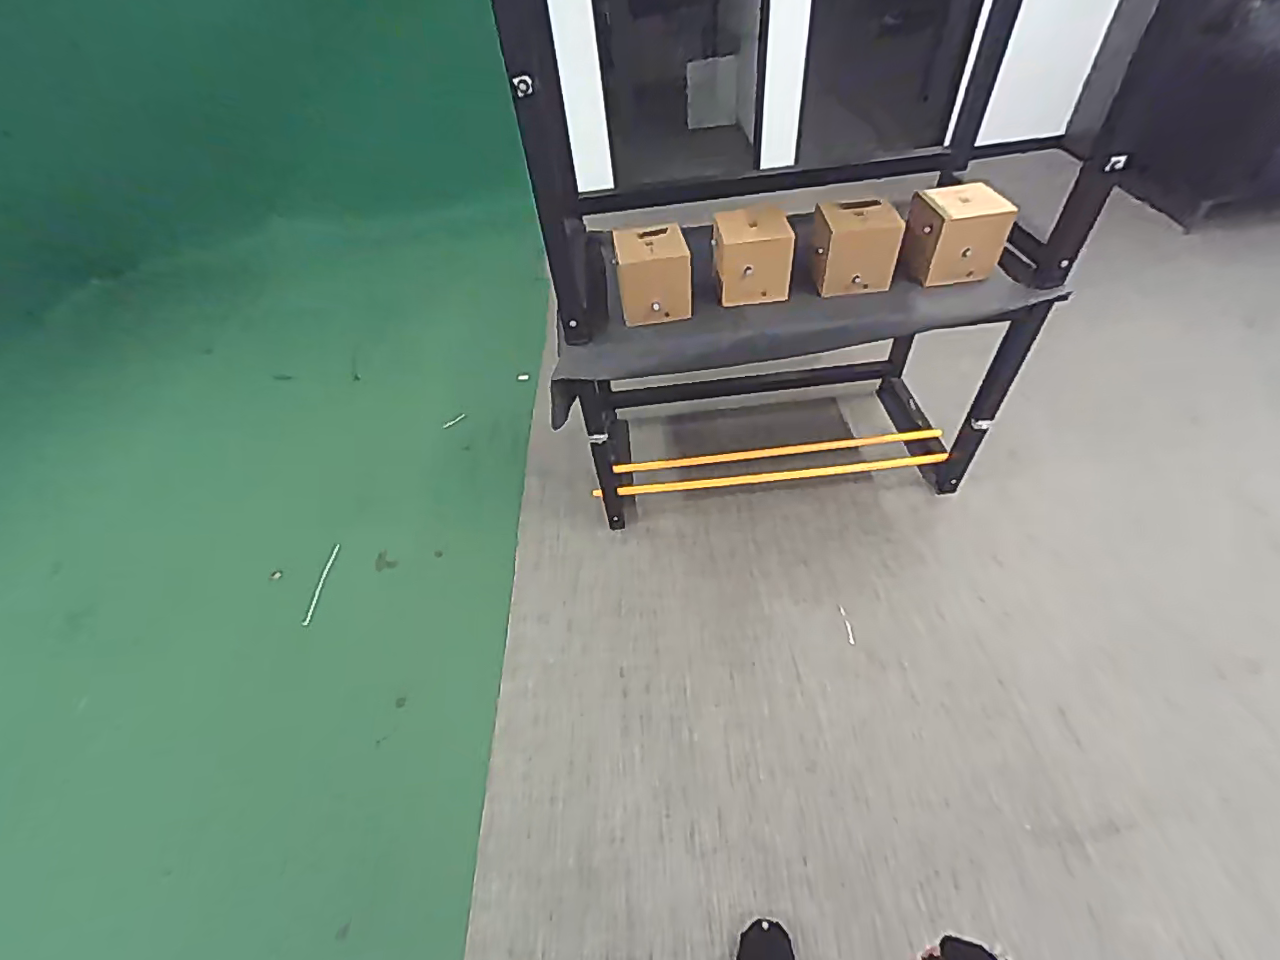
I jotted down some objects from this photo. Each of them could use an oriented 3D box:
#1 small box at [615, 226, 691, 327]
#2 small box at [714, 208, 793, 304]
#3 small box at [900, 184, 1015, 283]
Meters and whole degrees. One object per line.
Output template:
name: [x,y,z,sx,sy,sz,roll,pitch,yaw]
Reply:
small box: [0.032,-0.506,1.346,0.168,0.176,0.179,-9,49,-1]
small box: [0.280,-0.558,1.364,0.168,0.176,0.179,-6,47,2]
small box: [0.771,-0.601,1.334,0.168,0.176,0.179,-6,47,1]
